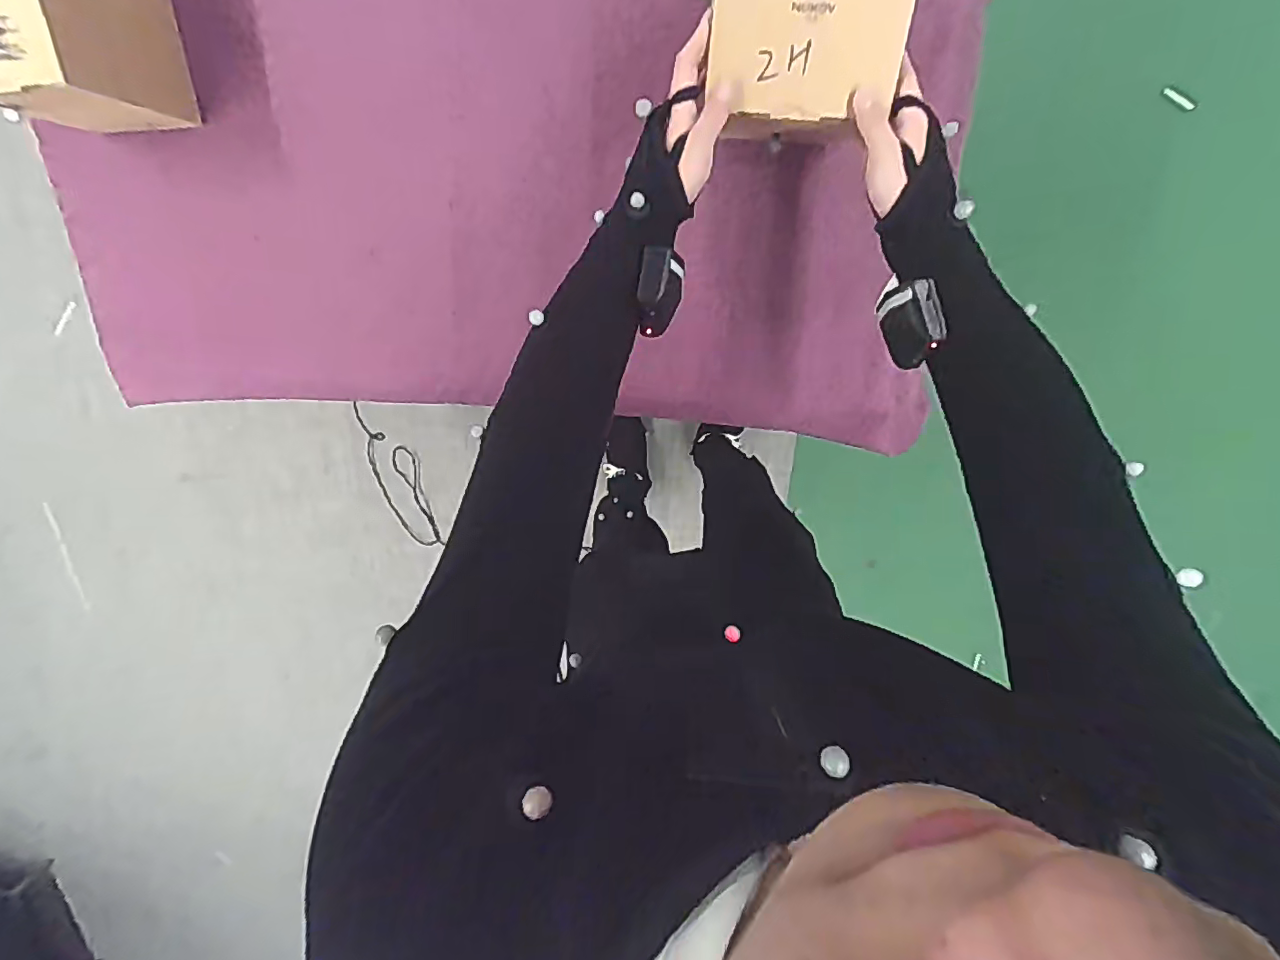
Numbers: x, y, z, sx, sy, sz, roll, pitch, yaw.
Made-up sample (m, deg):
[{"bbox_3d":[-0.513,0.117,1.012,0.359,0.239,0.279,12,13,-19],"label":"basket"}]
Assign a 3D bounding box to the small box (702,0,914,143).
[{"bbox_3d":[0.150,-0.439,0.515,0.168,0.176,0.179,6,118,3],"label":"small box"}]
